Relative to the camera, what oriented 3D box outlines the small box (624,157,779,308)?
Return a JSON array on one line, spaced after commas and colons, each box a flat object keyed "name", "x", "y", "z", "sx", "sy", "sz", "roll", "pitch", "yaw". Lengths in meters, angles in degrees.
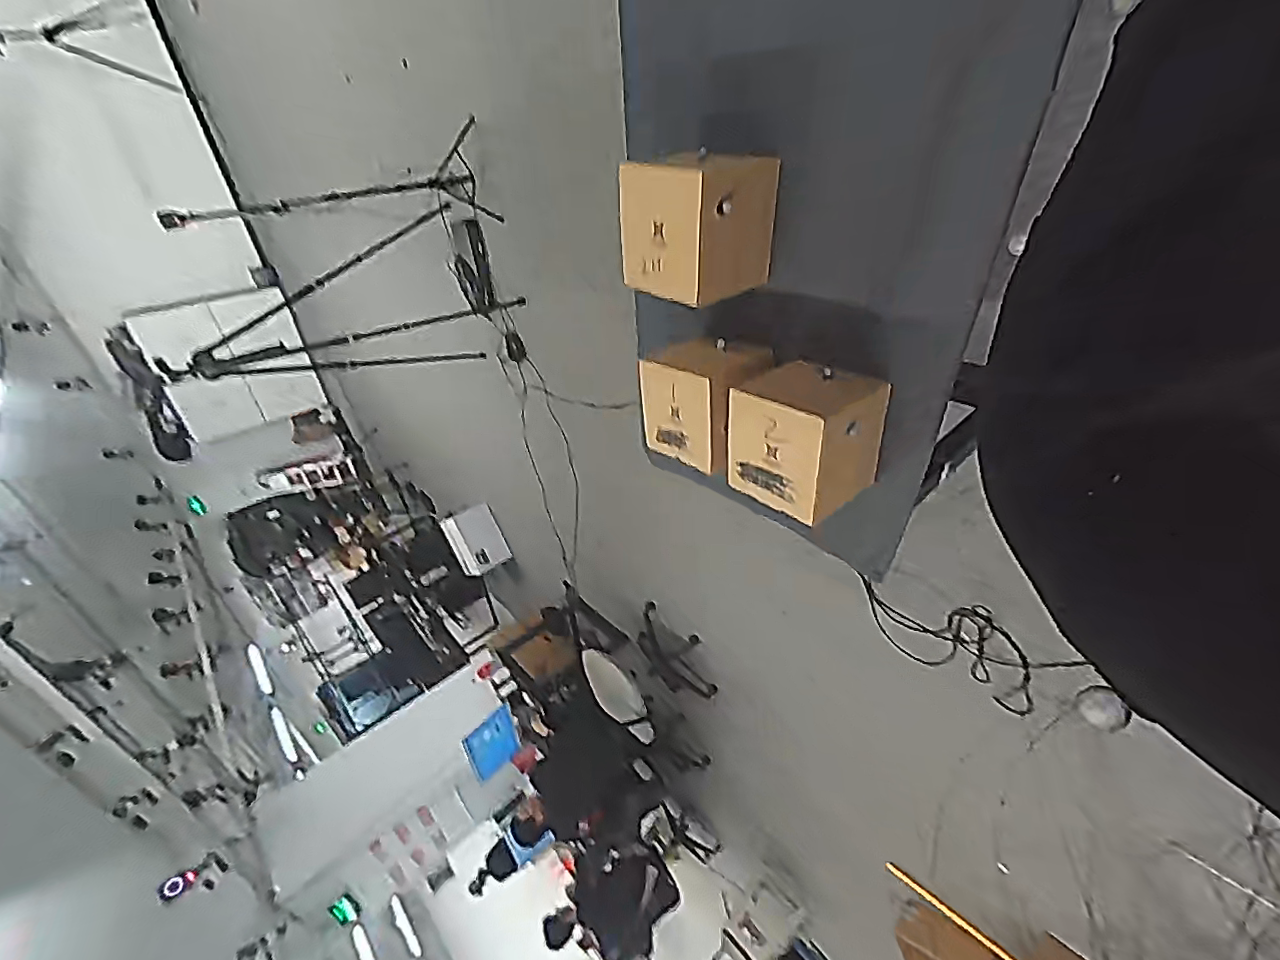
[{"name": "small box", "x": 0.094, "y": -0.388, "z": 0.833, "sx": 0.168, "sy": 0.176, "sz": 0.179, "roll": 33, "pitch": 138, "yaw": 38}]
